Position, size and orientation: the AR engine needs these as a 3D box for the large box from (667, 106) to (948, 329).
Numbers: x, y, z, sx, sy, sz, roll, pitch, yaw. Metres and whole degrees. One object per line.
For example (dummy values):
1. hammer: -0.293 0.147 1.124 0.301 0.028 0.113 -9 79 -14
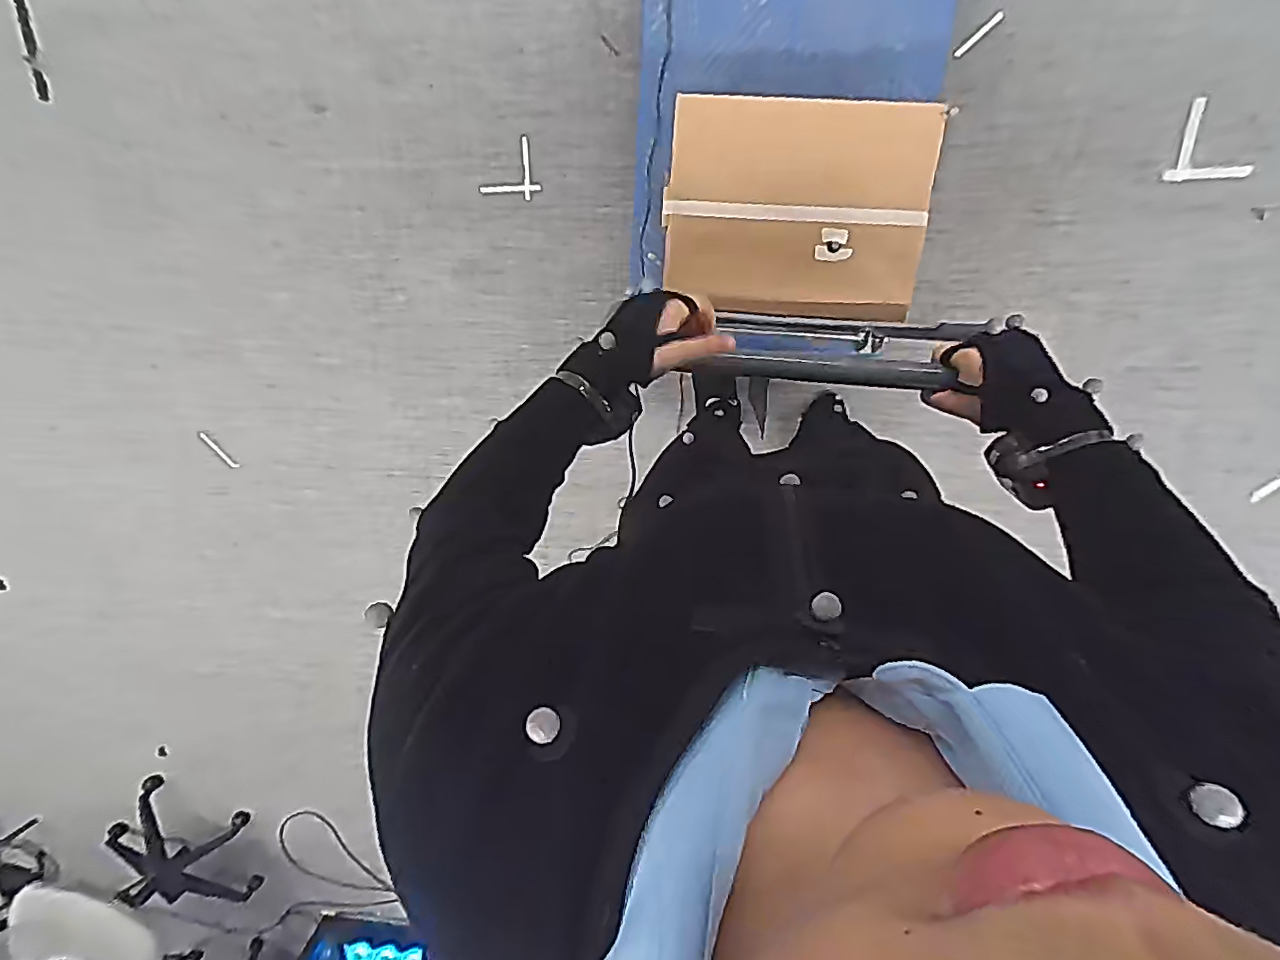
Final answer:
1. large box: 0.259 -0.450 0.990 0.408 0.320 0.320 5 109 3
